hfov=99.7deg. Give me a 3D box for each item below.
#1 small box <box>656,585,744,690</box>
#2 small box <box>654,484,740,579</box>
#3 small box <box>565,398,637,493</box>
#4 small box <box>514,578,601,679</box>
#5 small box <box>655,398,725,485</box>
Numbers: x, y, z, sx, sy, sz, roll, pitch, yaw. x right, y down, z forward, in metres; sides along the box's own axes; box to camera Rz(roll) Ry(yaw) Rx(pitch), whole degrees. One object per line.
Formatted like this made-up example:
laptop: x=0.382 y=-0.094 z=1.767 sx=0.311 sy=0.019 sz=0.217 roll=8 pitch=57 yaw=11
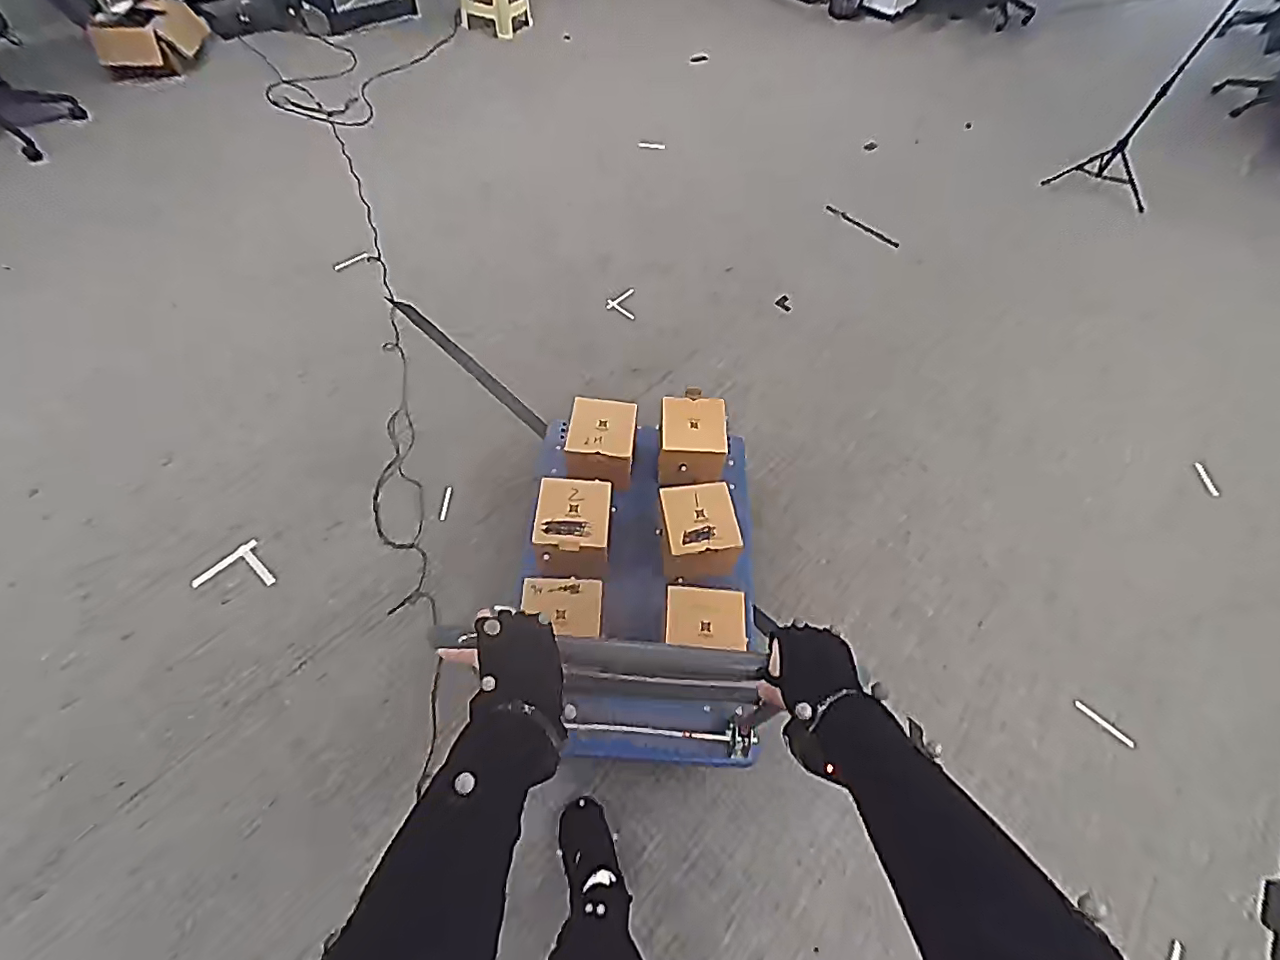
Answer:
small box: x=0.127 y=0.349 z=1.178 sx=0.168 sy=0.176 sz=0.179 roll=6 pitch=57 yaw=-1
small box: x=0.130 y=0.131 z=1.316 sx=0.168 sy=0.176 sz=0.179 roll=-5 pitch=57 yaw=-8
small box: x=-0.103 y=-0.089 z=1.436 sx=0.168 sy=0.176 sz=0.179 roll=7 pitch=58 yaw=0
small box: x=-0.170 y=0.325 z=1.167 sx=0.168 sy=0.176 sz=0.179 roll=3 pitch=58 yaw=-4
small box: x=0.131 y=-0.099 z=1.463 sx=0.168 sy=0.176 sz=0.179 roll=3 pitch=57 yaw=-3
